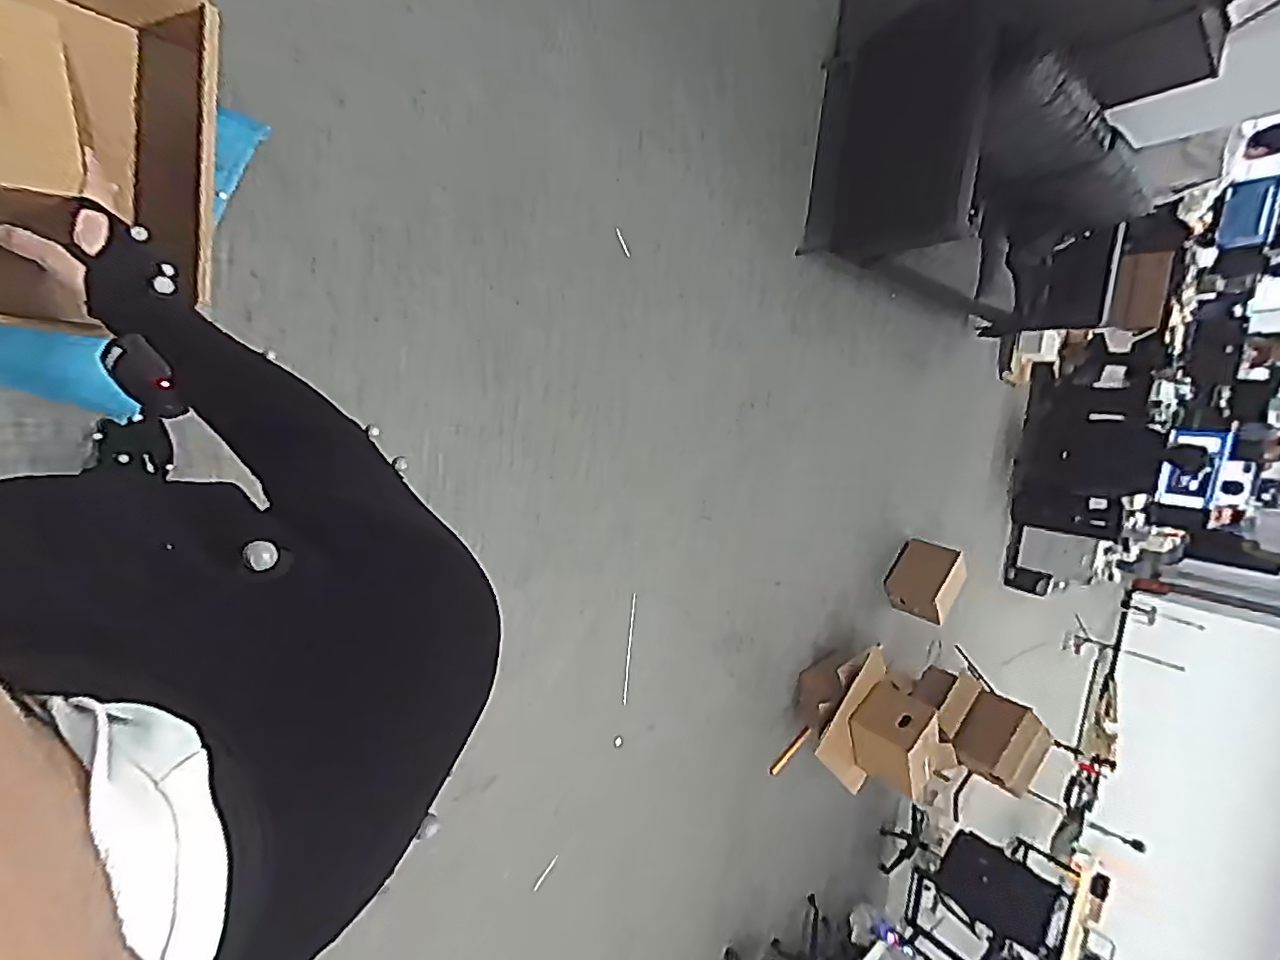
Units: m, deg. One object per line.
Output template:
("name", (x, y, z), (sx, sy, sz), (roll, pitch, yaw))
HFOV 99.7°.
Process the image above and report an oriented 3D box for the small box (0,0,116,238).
("small box", (-0.636, -0.346, 0.508), (0.179, 0.176, 0.168), (-8, 97, -37))
